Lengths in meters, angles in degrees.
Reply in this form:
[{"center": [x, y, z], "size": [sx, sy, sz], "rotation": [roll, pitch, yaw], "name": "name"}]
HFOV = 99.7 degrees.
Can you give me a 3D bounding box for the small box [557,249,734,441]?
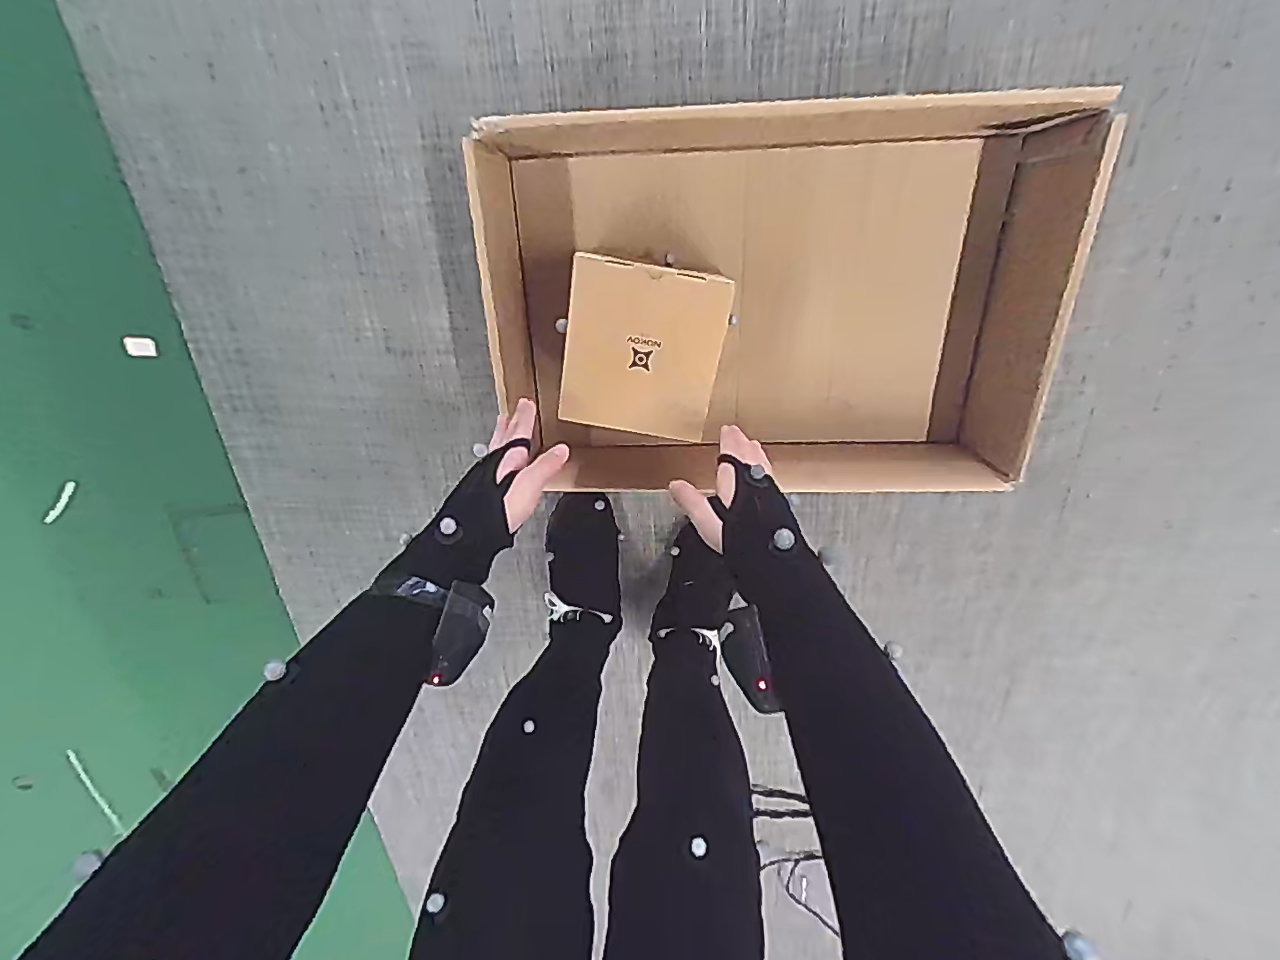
[{"center": [0.006, -0.167, 0.641], "size": [0.168, 0.176, 0.179], "rotation": [10, 113, -1], "name": "small box"}]
